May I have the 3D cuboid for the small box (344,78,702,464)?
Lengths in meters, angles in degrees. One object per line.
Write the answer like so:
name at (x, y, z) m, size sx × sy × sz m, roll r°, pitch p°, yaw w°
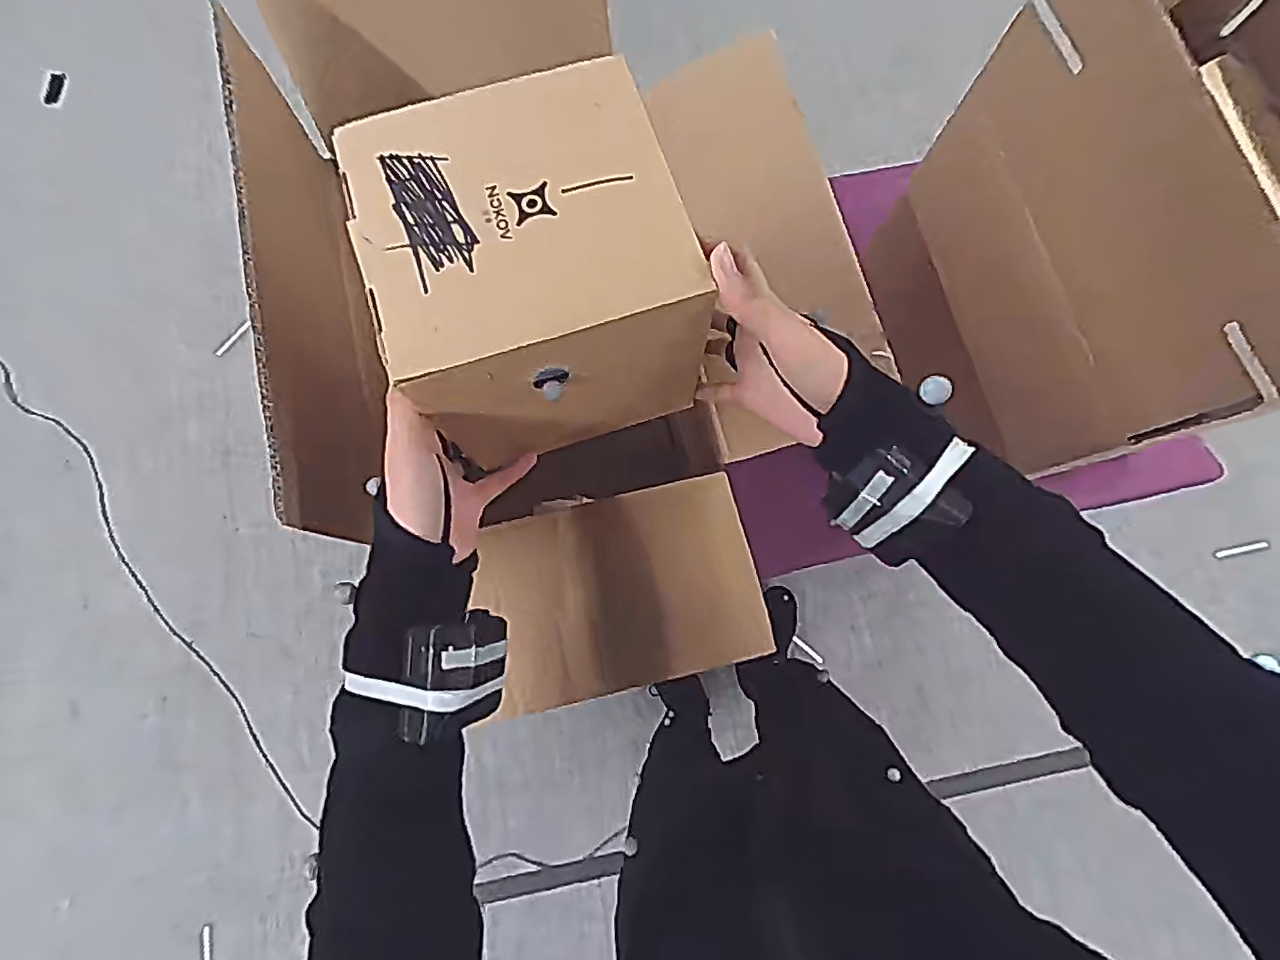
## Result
small box at (-0.069, -0.126, 0.384) m, size 0.179 × 0.176 × 0.168 m, roll -18°, pitch 77°, yaw -4°
